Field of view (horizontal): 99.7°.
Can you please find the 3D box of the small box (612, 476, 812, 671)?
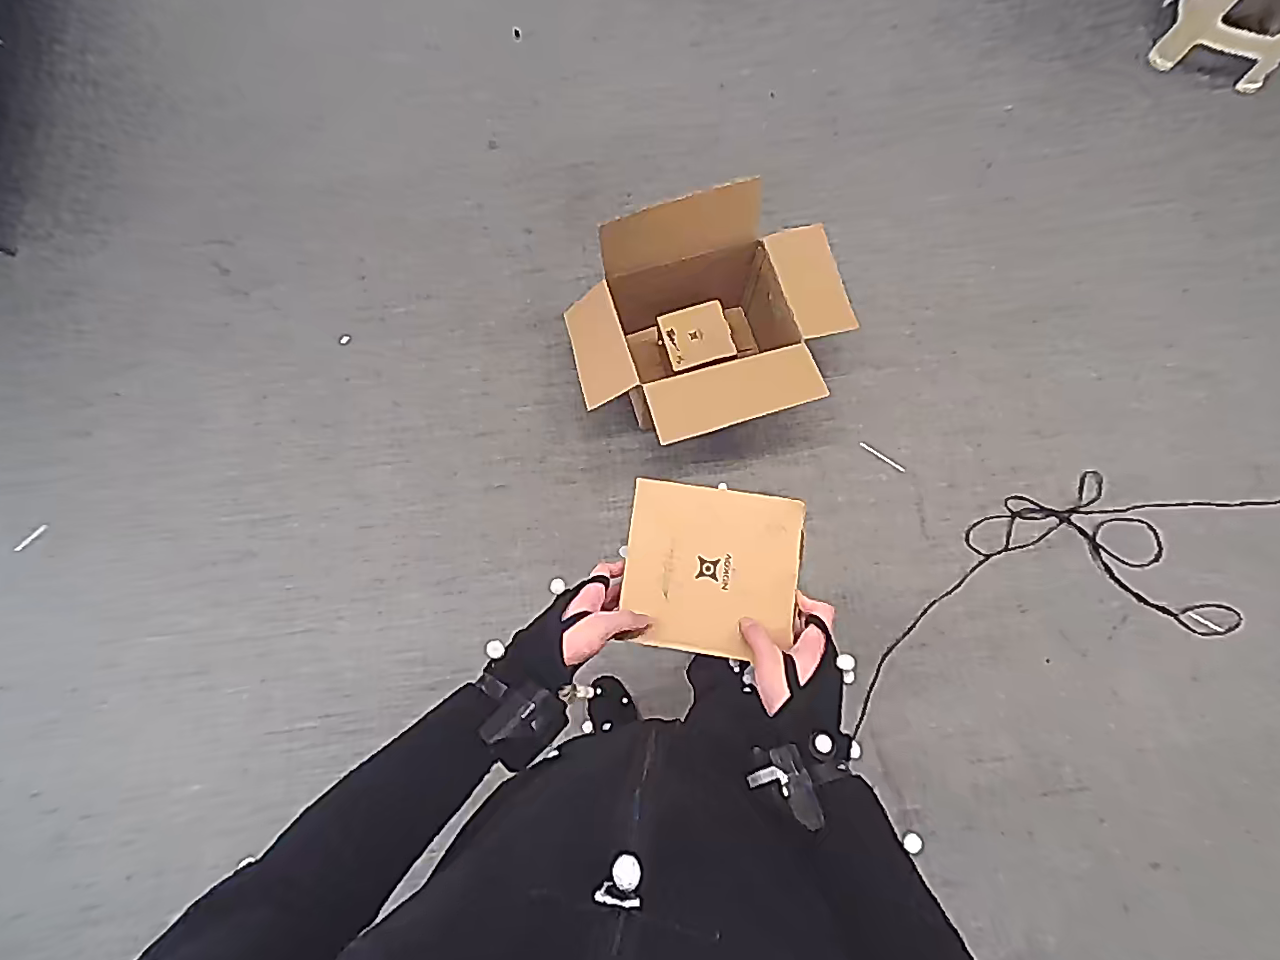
[{"bbox_3d":[0.075,0.105,0.607,0.179,0.176,0.168,10,77,4],"label":"small box"}]
